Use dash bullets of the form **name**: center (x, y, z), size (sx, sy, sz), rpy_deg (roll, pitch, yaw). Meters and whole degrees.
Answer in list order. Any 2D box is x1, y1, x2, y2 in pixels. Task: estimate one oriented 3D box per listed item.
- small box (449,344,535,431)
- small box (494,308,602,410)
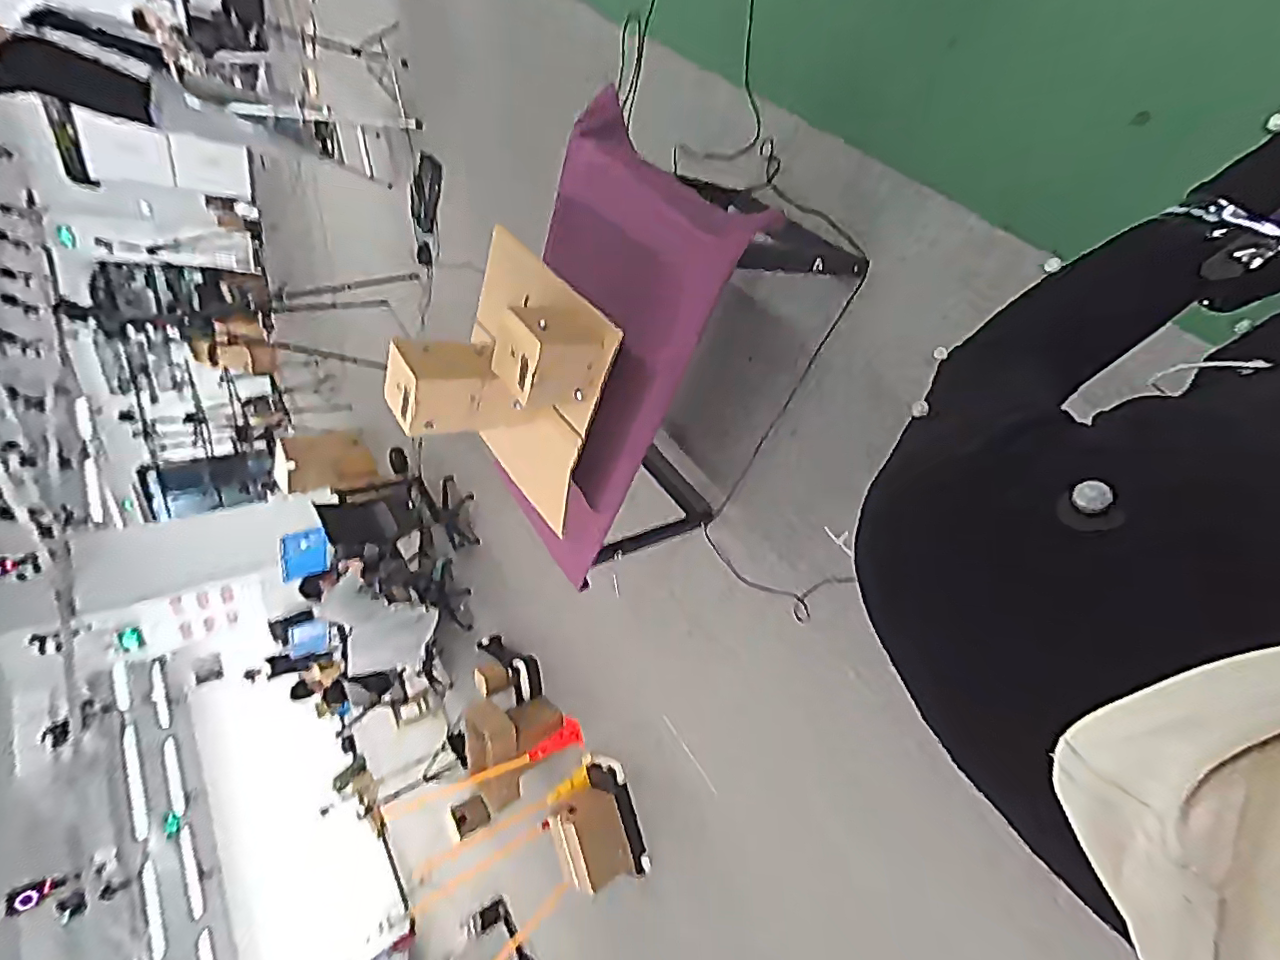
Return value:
- **small box**: center (-0.392, -0.251, 1.467), size (0.179, 0.176, 0.168), rpy_deg (48, 130, 28)
- **small box**: center (-0.214, -0.287, 1.263), size (0.179, 0.176, 0.168), rpy_deg (48, 131, 30)
